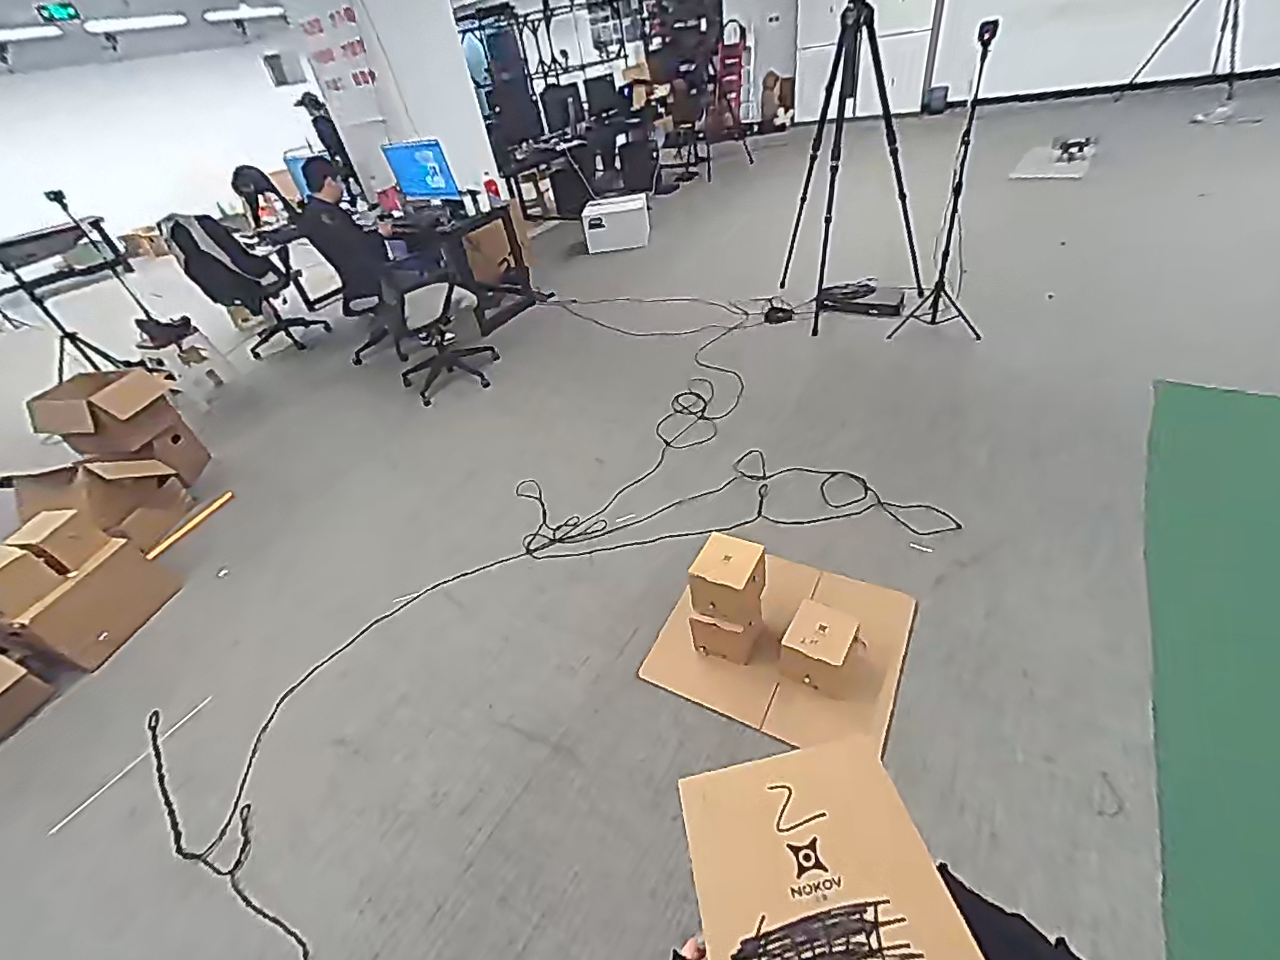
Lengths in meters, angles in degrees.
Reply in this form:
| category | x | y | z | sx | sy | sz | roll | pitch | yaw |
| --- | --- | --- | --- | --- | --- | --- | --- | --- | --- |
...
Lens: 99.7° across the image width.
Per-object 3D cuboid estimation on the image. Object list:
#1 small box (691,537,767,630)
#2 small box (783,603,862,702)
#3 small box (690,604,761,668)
| category | x | y | z | sx | sy | sz | roll | pitch | yaw |
| --- | --- | --- | --- | --- | --- | --- | --- | --- | --- |
| small box | 0.262 | 0.301 | 1.576 | 0.168 | 0.176 | 0.179 | 14 | 45 | 29 |
| small box | 0.518 | 0.491 | 1.540 | 0.168 | 0.176 | 0.179 | 16 | 47 | 32 |
| small box | 0.271 | 0.443 | 1.661 | 0.168 | 0.176 | 0.179 | 11 | 44 | 27 |
